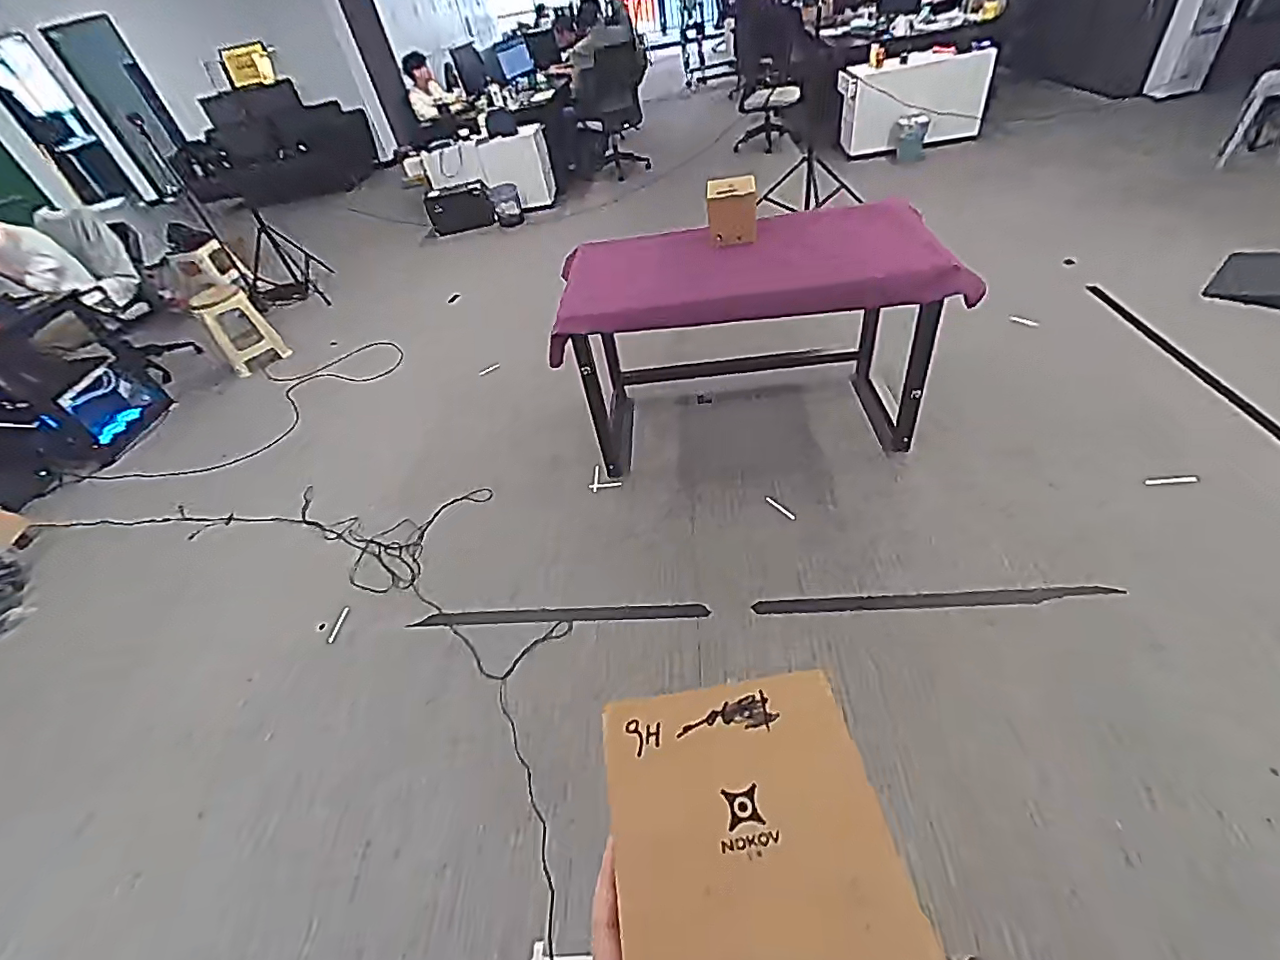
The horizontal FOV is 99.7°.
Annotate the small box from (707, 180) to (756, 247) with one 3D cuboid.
[{"bbox_3d":[0.330,-0.949,1.940,0.168,0.176,0.179,-2,45,11],"label":"small box"}]

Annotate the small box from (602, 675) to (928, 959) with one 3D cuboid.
[{"bbox_3d":[0.071,0.270,0.390,0.168,0.176,0.179,-9,46,-2],"label":"small box"}]
